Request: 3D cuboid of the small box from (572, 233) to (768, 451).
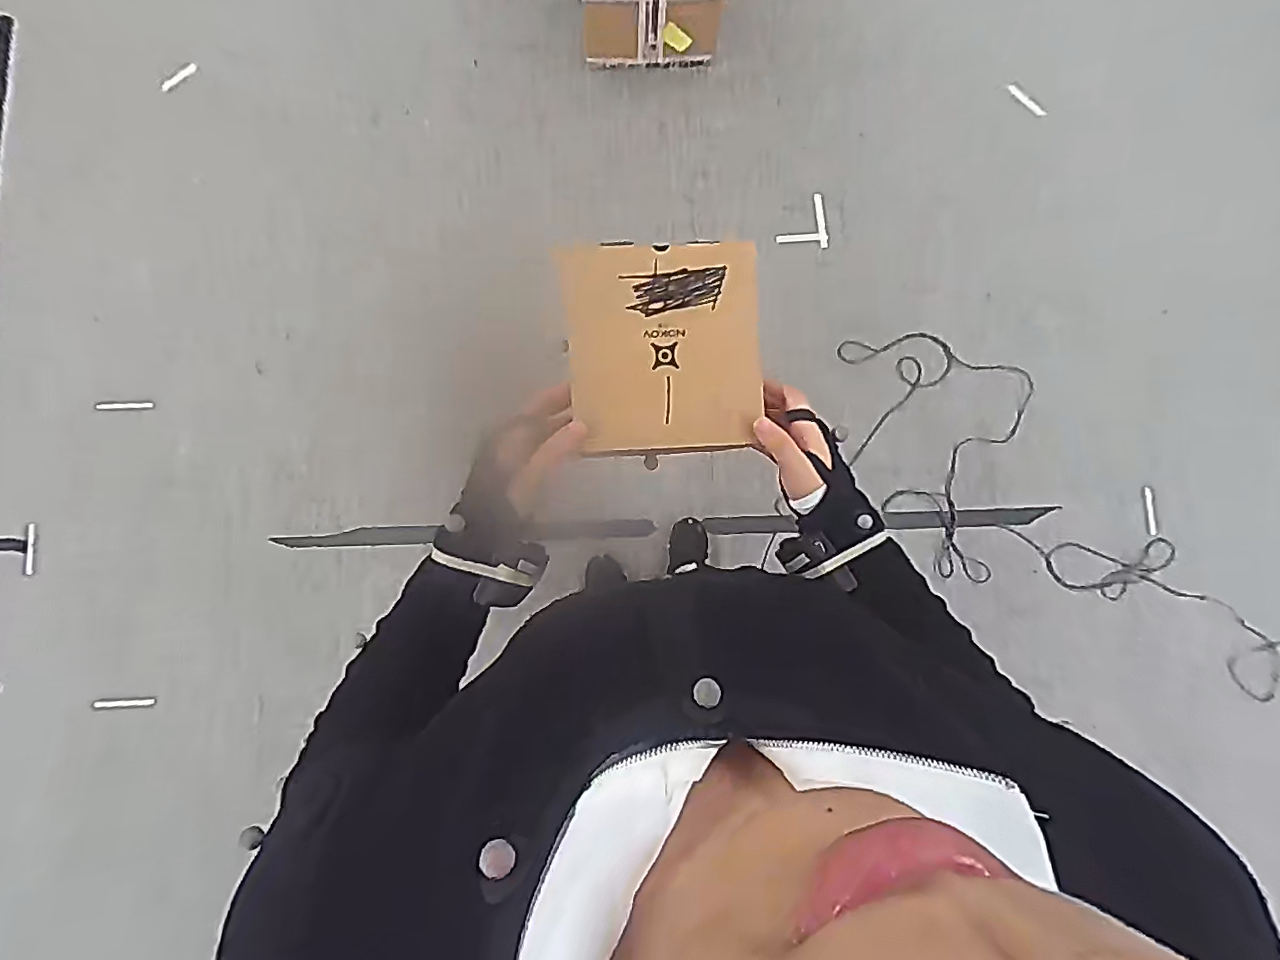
[{"bbox_3d":[0.019,-0.122,0.537,0.168,0.176,0.179,-3,91,-4],"label":"small box"}]
